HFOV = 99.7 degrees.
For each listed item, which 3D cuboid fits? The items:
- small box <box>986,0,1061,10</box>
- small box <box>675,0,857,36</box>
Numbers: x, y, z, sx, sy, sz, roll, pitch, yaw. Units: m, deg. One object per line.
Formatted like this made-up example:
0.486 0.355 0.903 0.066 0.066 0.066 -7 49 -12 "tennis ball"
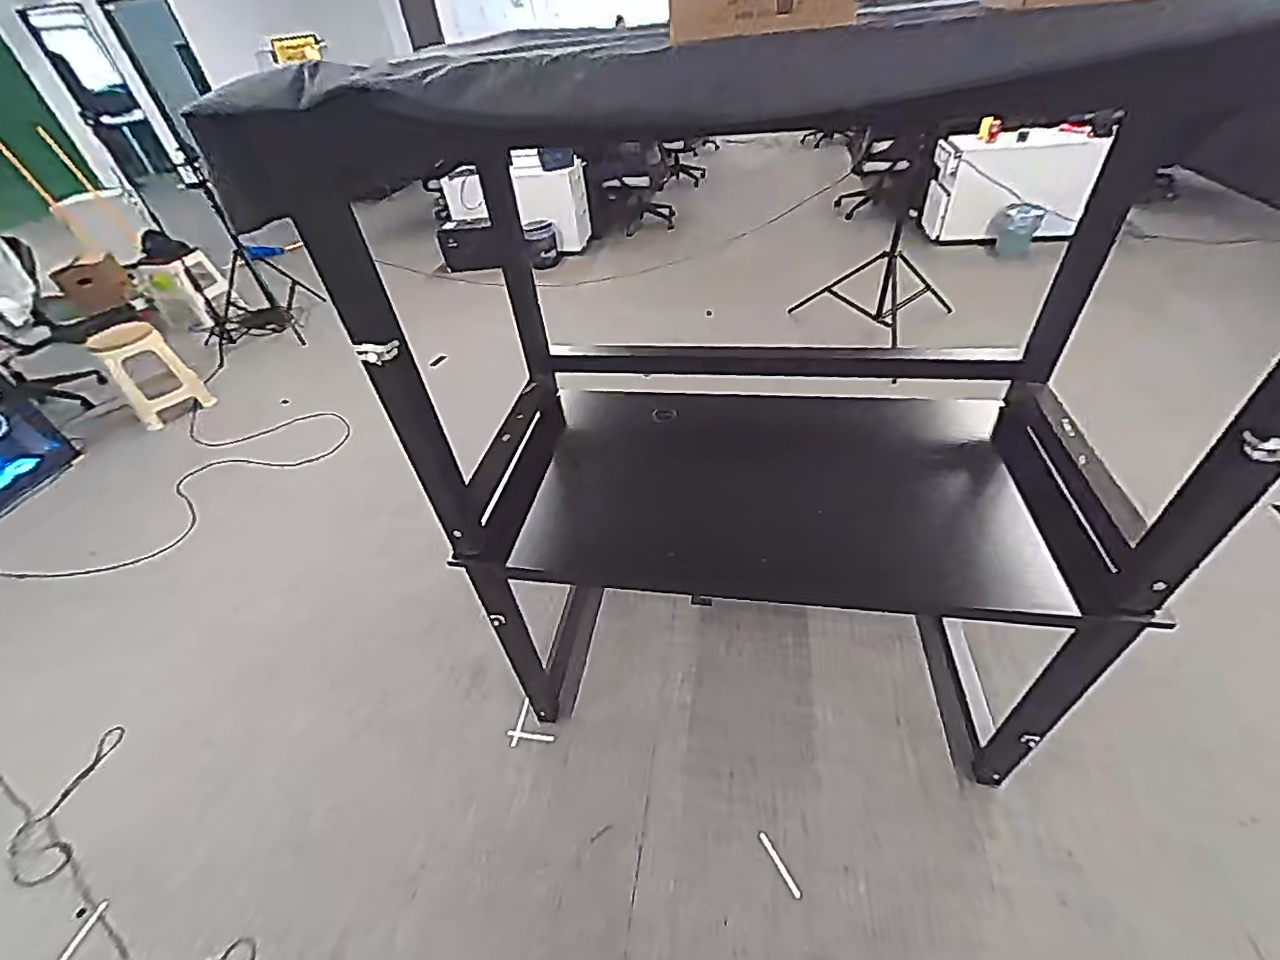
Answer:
0.414 -0.509 0.444 0.168 0.176 0.179 6 41 14 "small box"
0.120 -0.523 0.498 0.168 0.176 0.179 4 40 12 "small box"
